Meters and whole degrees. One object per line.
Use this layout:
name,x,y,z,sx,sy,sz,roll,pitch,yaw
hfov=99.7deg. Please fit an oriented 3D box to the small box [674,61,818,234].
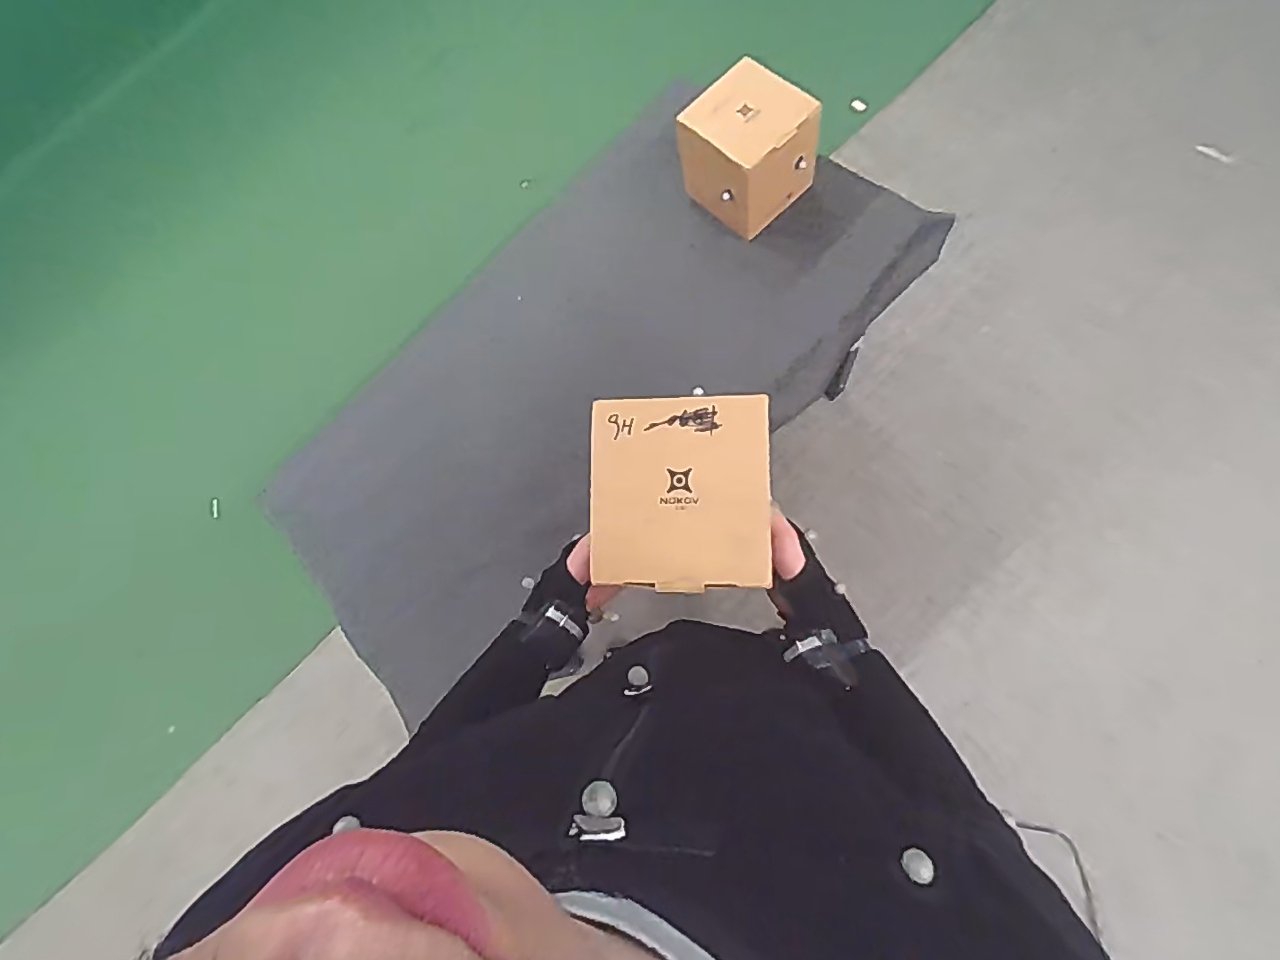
small box,0.185,-0.572,0.955,0.168,0.176,0.179,-42,70,-4

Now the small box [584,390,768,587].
small box,0.043,0.013,0.562,0.168,0.176,0.179,0,84,8
